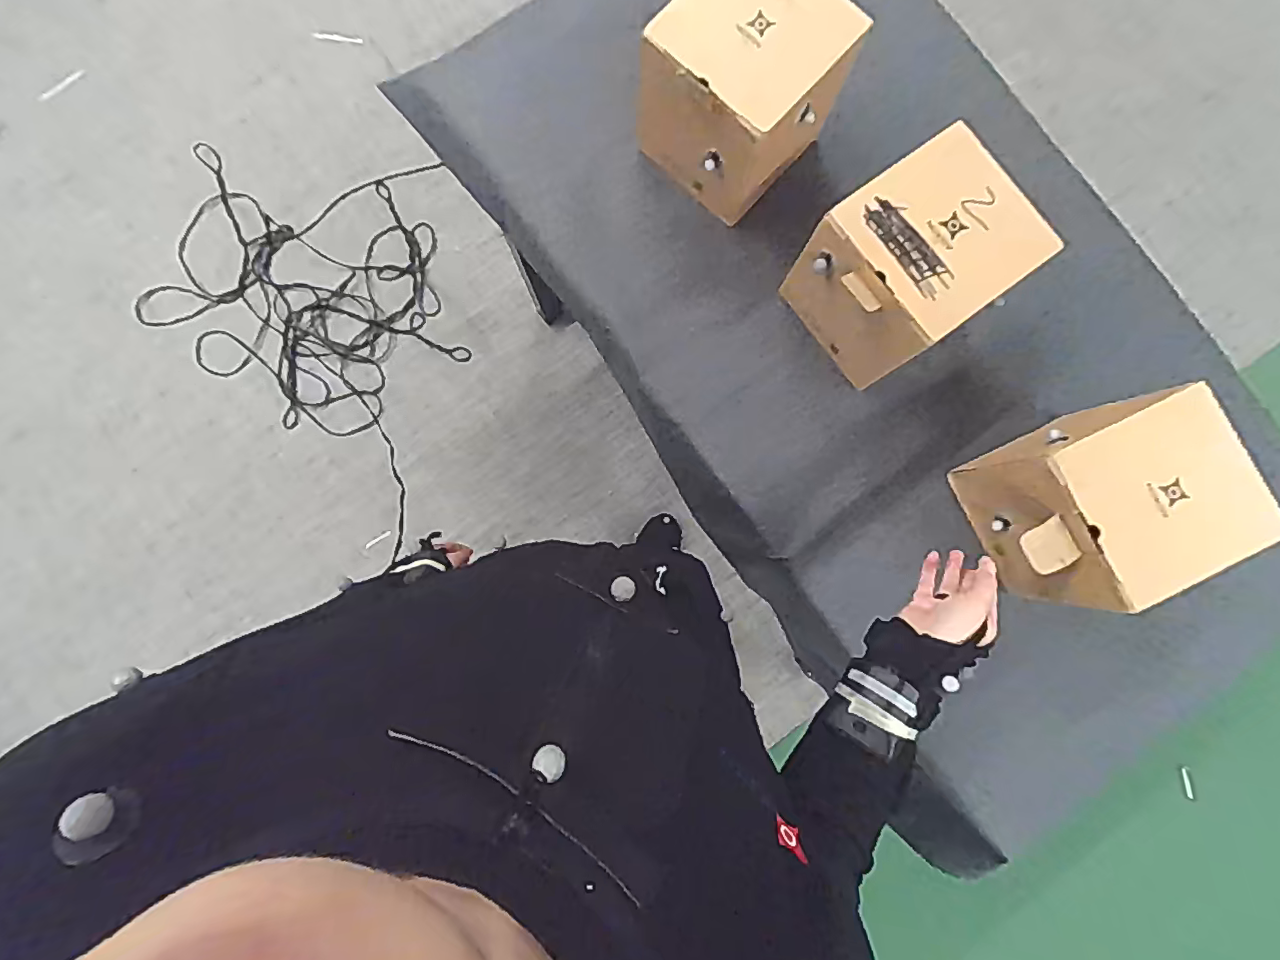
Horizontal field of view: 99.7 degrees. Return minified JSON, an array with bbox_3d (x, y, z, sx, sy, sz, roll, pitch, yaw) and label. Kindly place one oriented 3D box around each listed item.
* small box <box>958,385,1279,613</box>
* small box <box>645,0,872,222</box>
[{"bbox_3d":[0.499,0.021,0.588,0.179,0.176,0.168,-26,86,-3],"label":"small box"},{"bbox_3d":[0.121,-0.446,0.628,0.168,0.176,0.179,42,84,2],"label":"small box"}]
